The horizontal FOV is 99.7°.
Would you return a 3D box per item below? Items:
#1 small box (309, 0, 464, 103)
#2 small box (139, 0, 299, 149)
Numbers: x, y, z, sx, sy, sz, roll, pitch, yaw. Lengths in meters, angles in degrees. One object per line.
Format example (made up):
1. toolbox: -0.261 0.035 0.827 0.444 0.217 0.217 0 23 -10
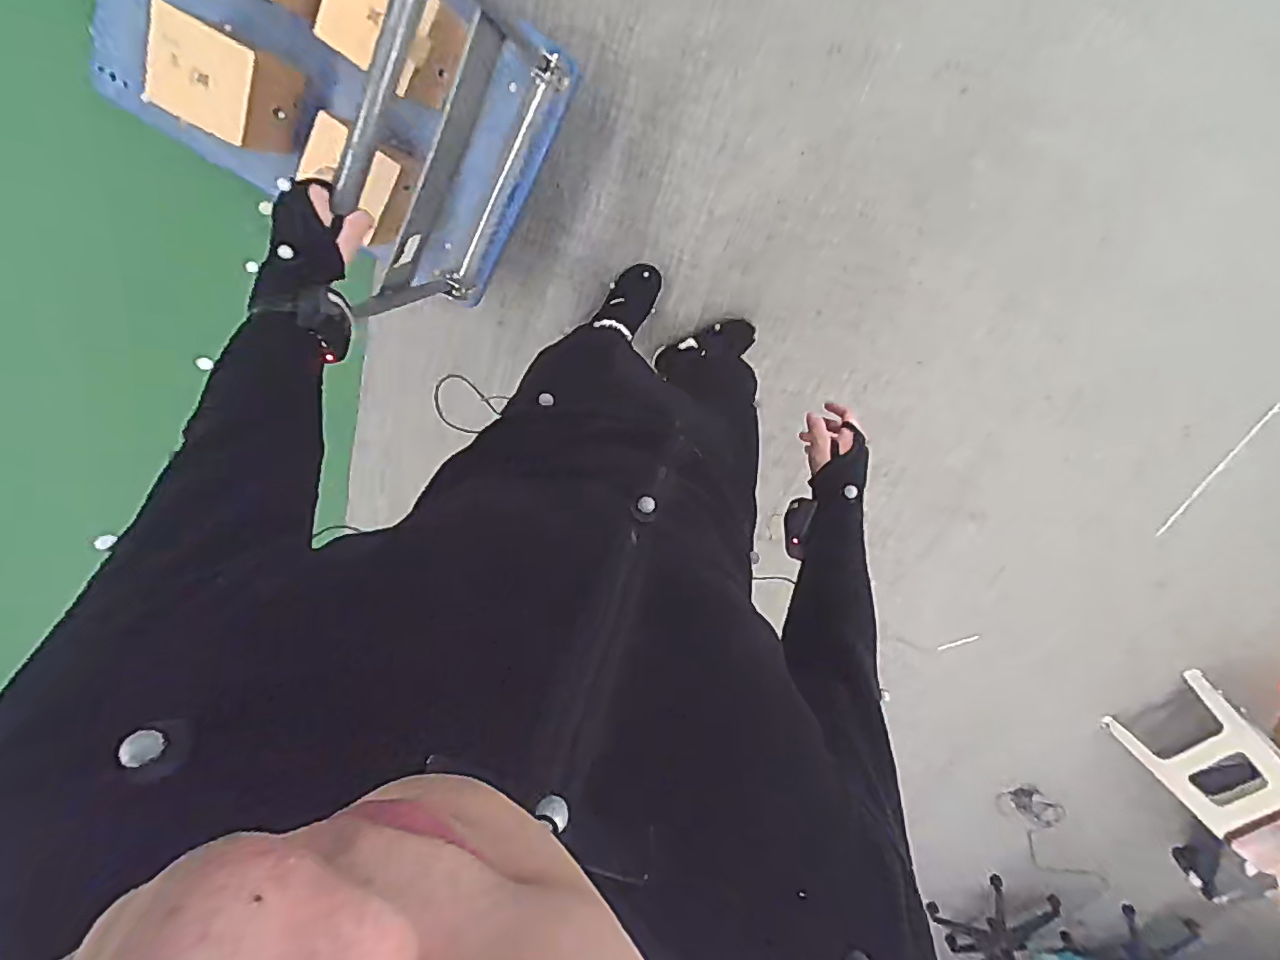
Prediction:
1. small box: -0.455 -0.832 0.992 0.179 0.176 0.168 30 115 -14
2. small box: -0.796 -0.763 1.037 0.179 0.176 0.168 26 115 -11
